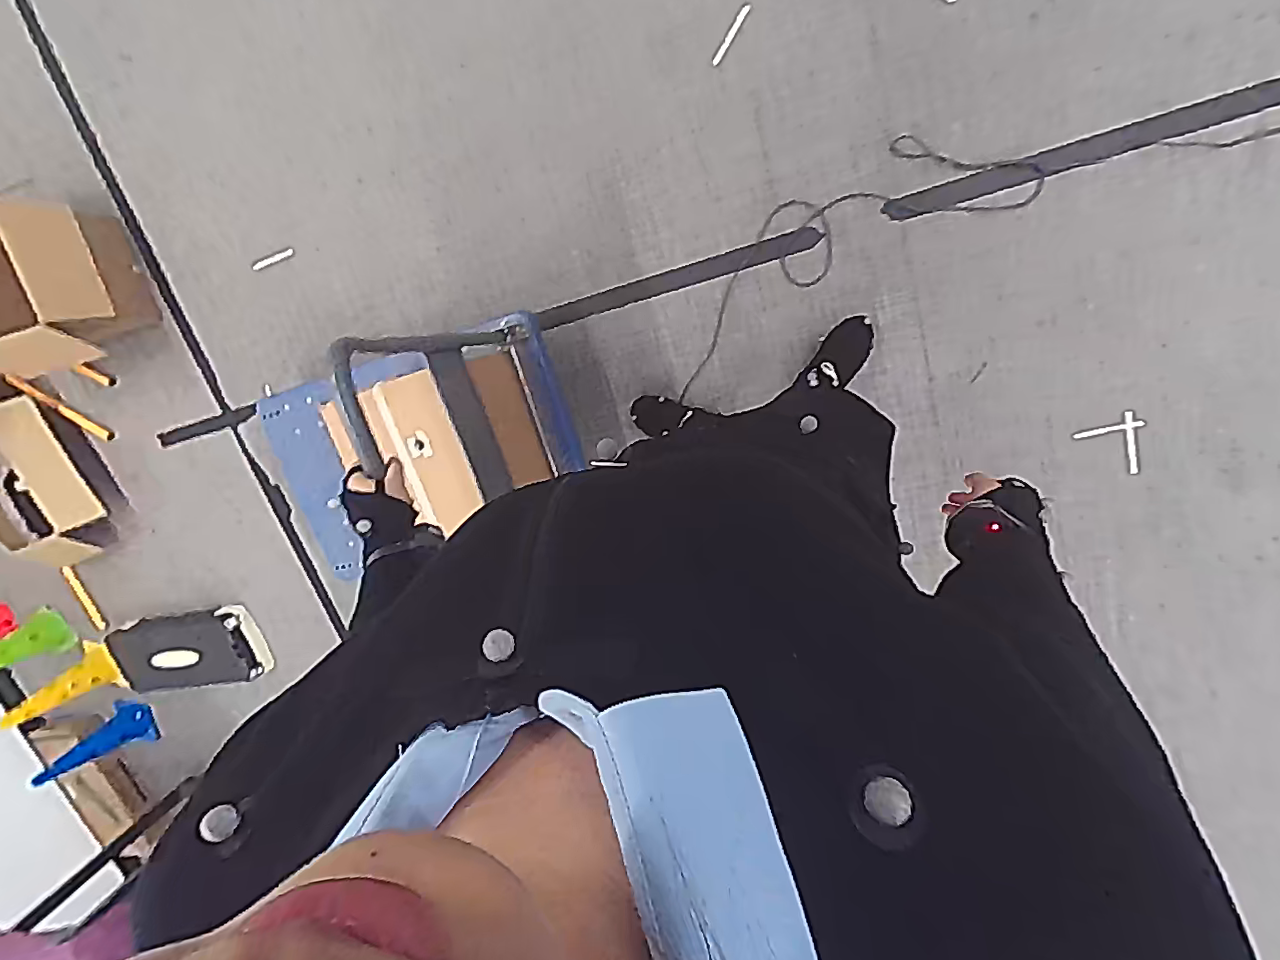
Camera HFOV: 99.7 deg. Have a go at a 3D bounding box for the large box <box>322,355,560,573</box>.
[{"bbox_3d":[-0.435,-0.048,1.270,0.320,0.320,0.408,-13,103,15],"label":"large box"}]
